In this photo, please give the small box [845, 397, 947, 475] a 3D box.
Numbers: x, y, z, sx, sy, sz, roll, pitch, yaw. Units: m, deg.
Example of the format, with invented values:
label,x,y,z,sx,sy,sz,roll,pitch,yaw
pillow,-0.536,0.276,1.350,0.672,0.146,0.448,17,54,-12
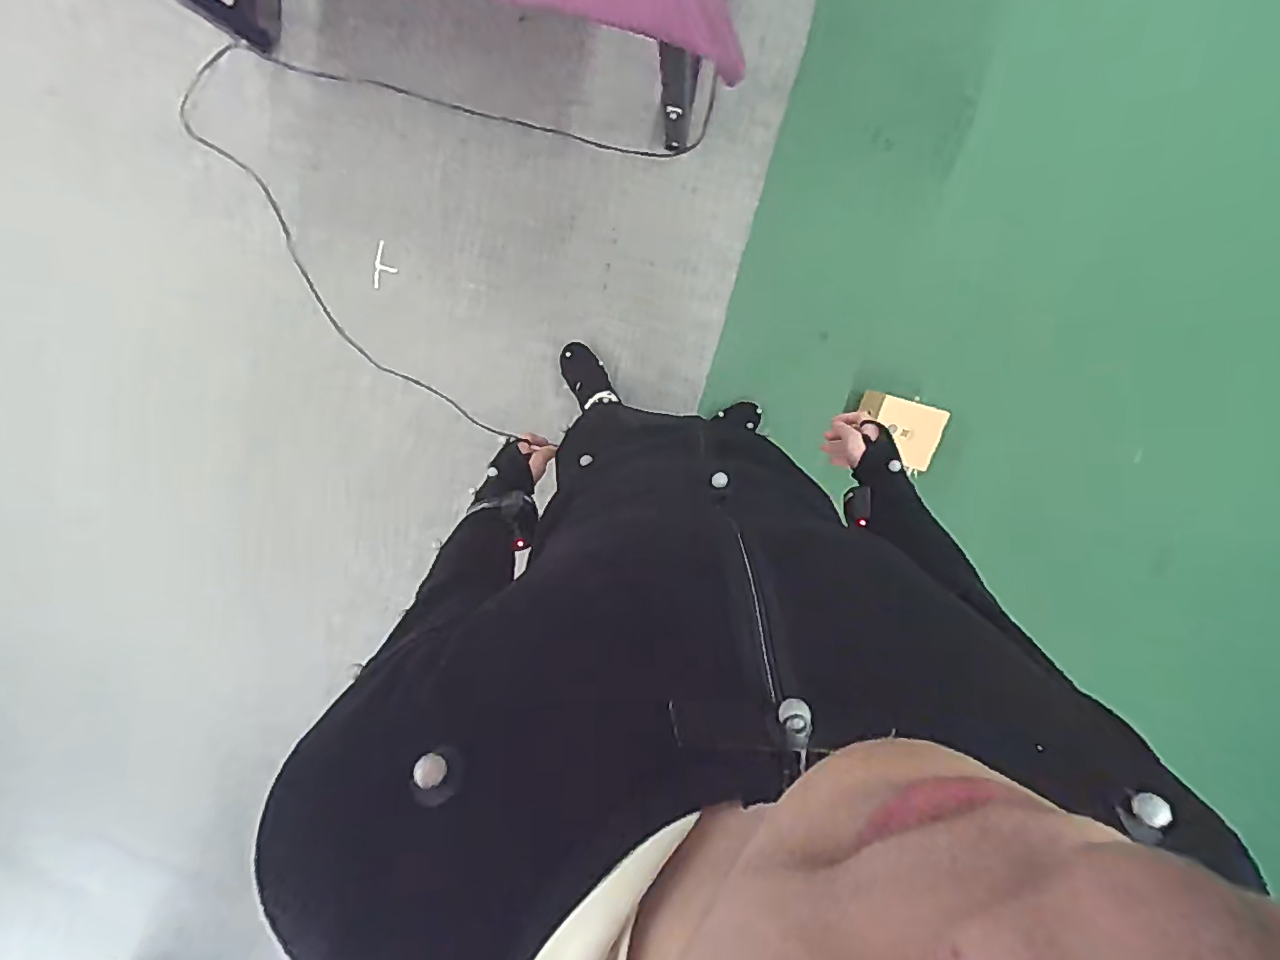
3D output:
label,x,y,z,sx,sy,sz,roll,pitch,yaw
small box,0.694,-0.127,1.489,0.179,0.176,0.168,15,103,-2
